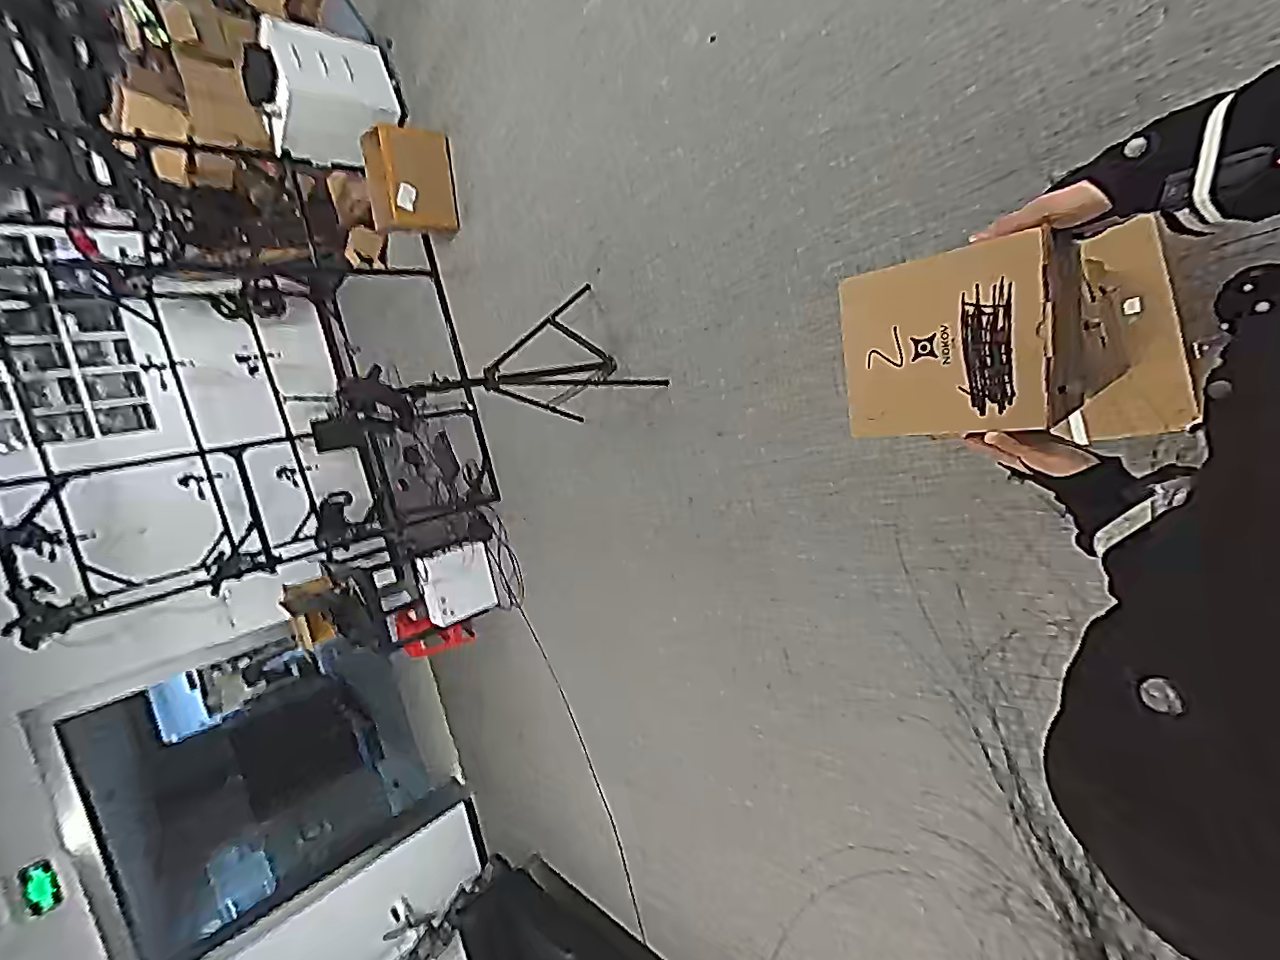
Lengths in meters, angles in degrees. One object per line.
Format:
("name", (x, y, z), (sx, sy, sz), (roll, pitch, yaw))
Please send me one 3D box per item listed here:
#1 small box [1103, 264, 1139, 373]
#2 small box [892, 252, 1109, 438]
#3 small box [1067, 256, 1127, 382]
("small box", (0.694, -0.243, 0.903), (0.179, 0.176, 0.168), (-13, 94, 48))
("small box", (0.461, -0.166, 0.687), (0.179, 0.176, 0.168), (-21, 87, 49))
("small box", (0.580, -0.209, 0.792), (0.179, 0.176, 0.168), (-15, 91, 50))
